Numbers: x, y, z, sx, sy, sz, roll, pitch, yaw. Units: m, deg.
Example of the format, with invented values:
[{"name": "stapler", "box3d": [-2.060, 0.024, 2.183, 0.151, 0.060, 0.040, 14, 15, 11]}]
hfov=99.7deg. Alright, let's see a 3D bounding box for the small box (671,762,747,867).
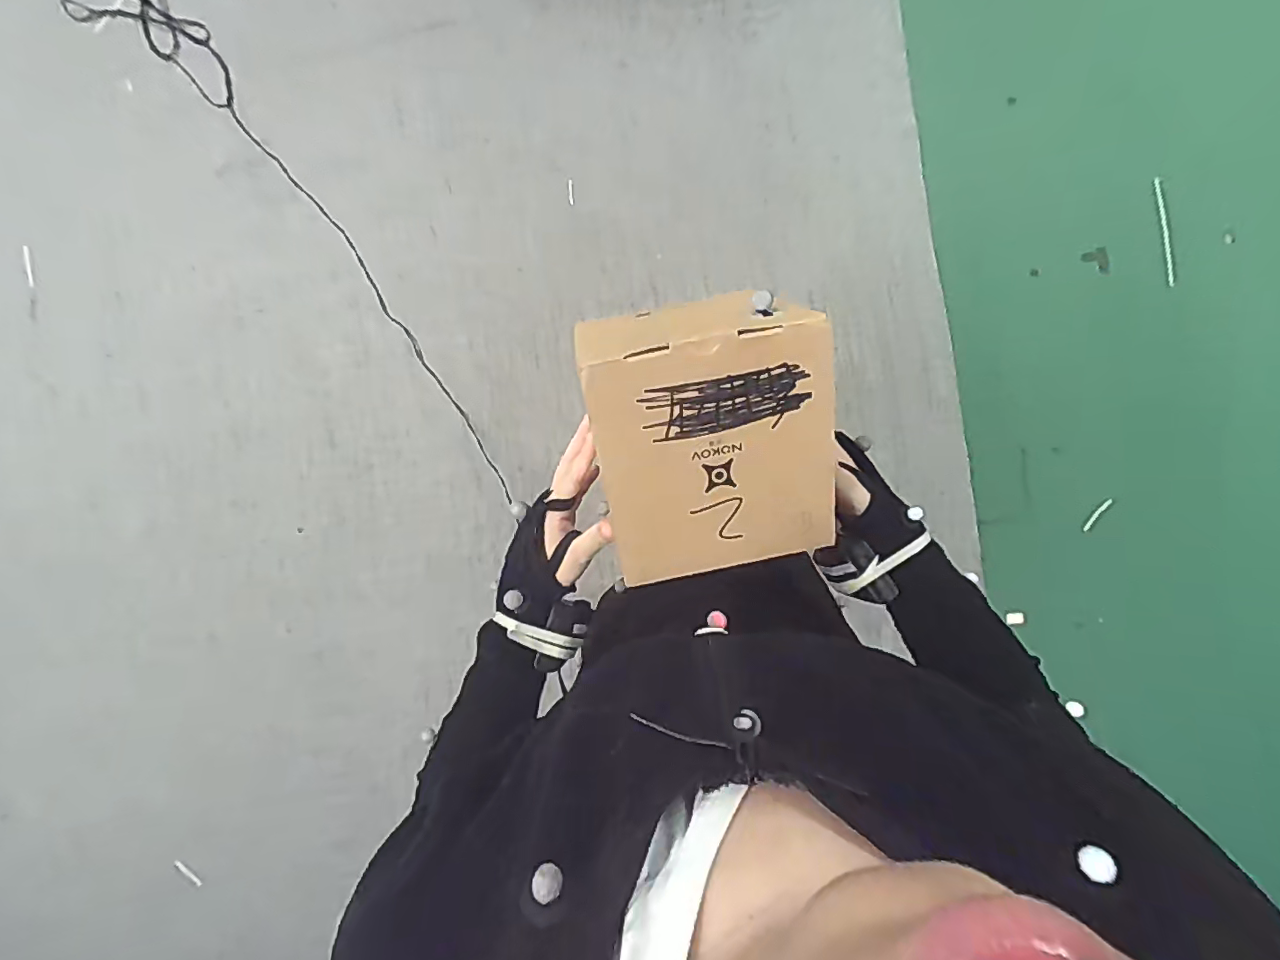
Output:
[{"name": "small box", "box3d": [0.174, 0.857, 1.406, 0.168, 0.176, 0.179, -7, 88, 0]}]
